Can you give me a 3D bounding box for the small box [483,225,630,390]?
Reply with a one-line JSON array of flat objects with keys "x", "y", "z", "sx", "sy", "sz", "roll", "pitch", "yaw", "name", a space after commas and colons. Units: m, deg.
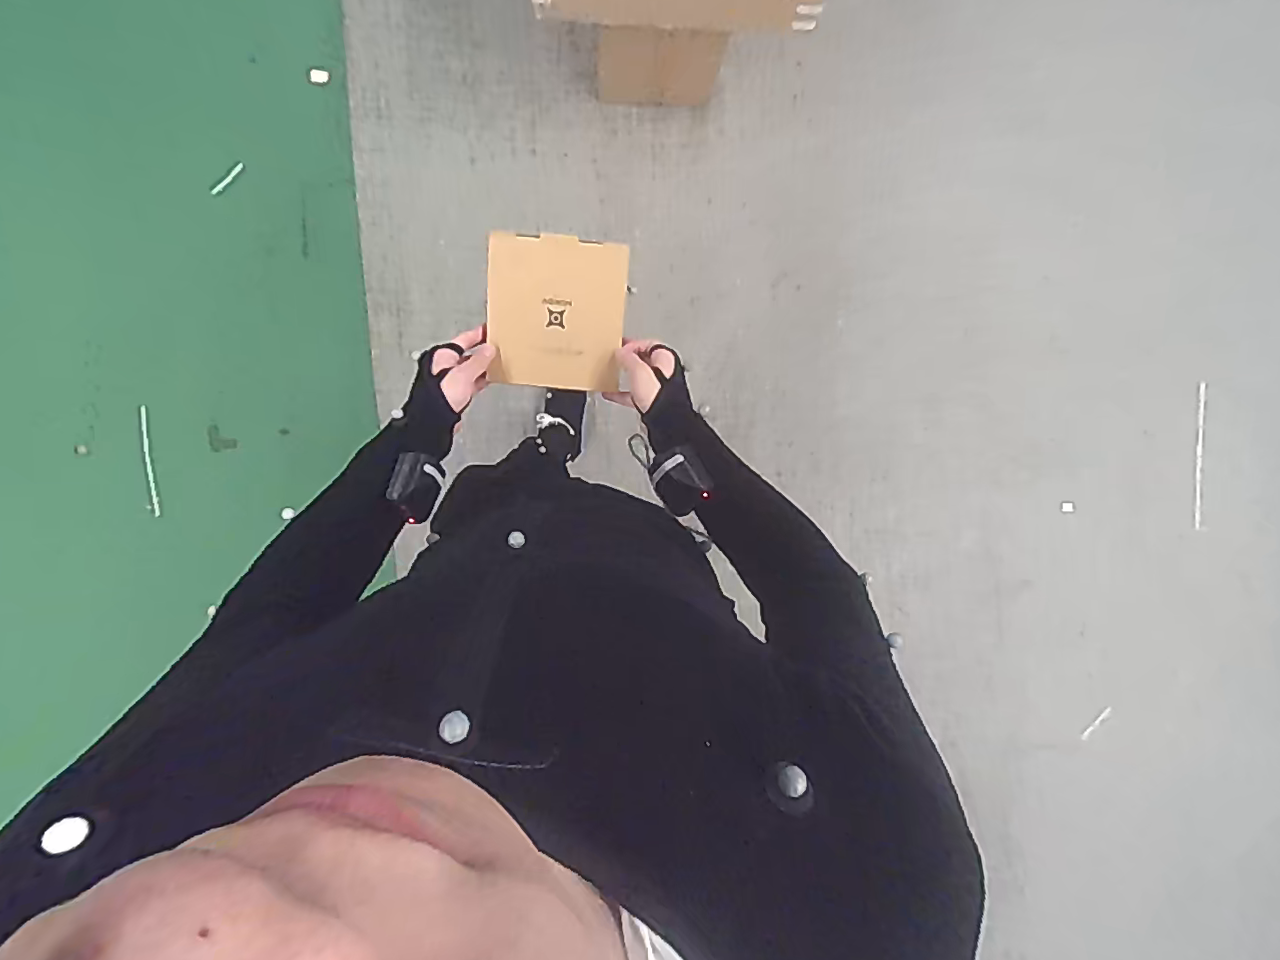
[{"x": -0.106, "y": -0.222, "z": 0.727, "sx": 0.168, "sy": 0.176, "sz": 0.179, "roll": 5, "pitch": 104, "yaw": -3, "name": "small box"}]
